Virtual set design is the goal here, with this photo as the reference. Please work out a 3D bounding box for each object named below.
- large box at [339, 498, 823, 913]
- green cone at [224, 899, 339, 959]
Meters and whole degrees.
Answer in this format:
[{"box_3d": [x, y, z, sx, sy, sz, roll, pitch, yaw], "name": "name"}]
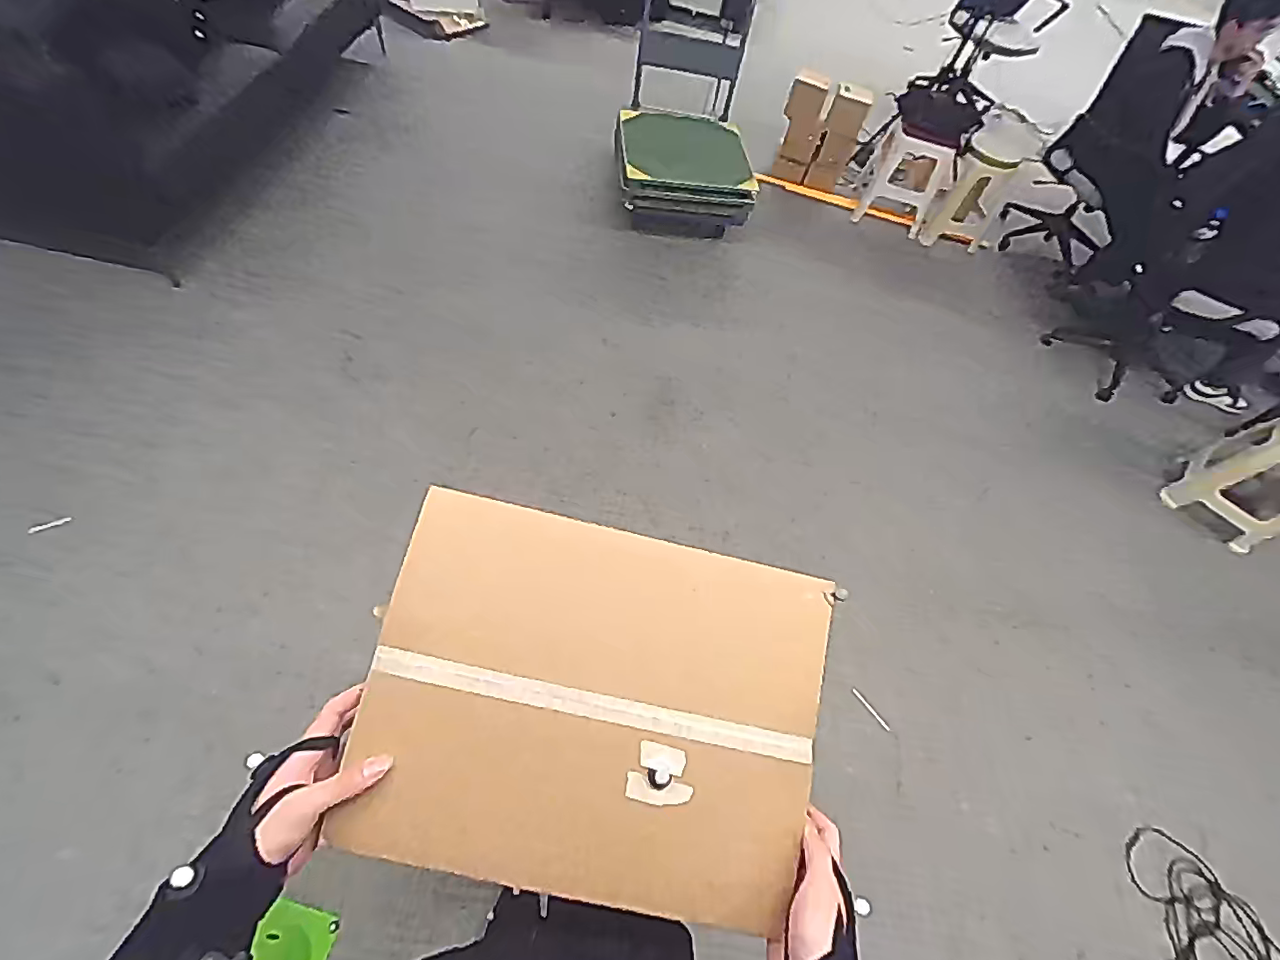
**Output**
[{"box_3d": [-0.053, 0.232, 0.645, 0.408, 0.320, 0.320, 13, 78, -4], "name": "large box"}, {"box_3d": [-0.739, 0.929, 0.978, 0.200, 0.368, 0.202, 16, 59, 0], "name": "green cone"}]
